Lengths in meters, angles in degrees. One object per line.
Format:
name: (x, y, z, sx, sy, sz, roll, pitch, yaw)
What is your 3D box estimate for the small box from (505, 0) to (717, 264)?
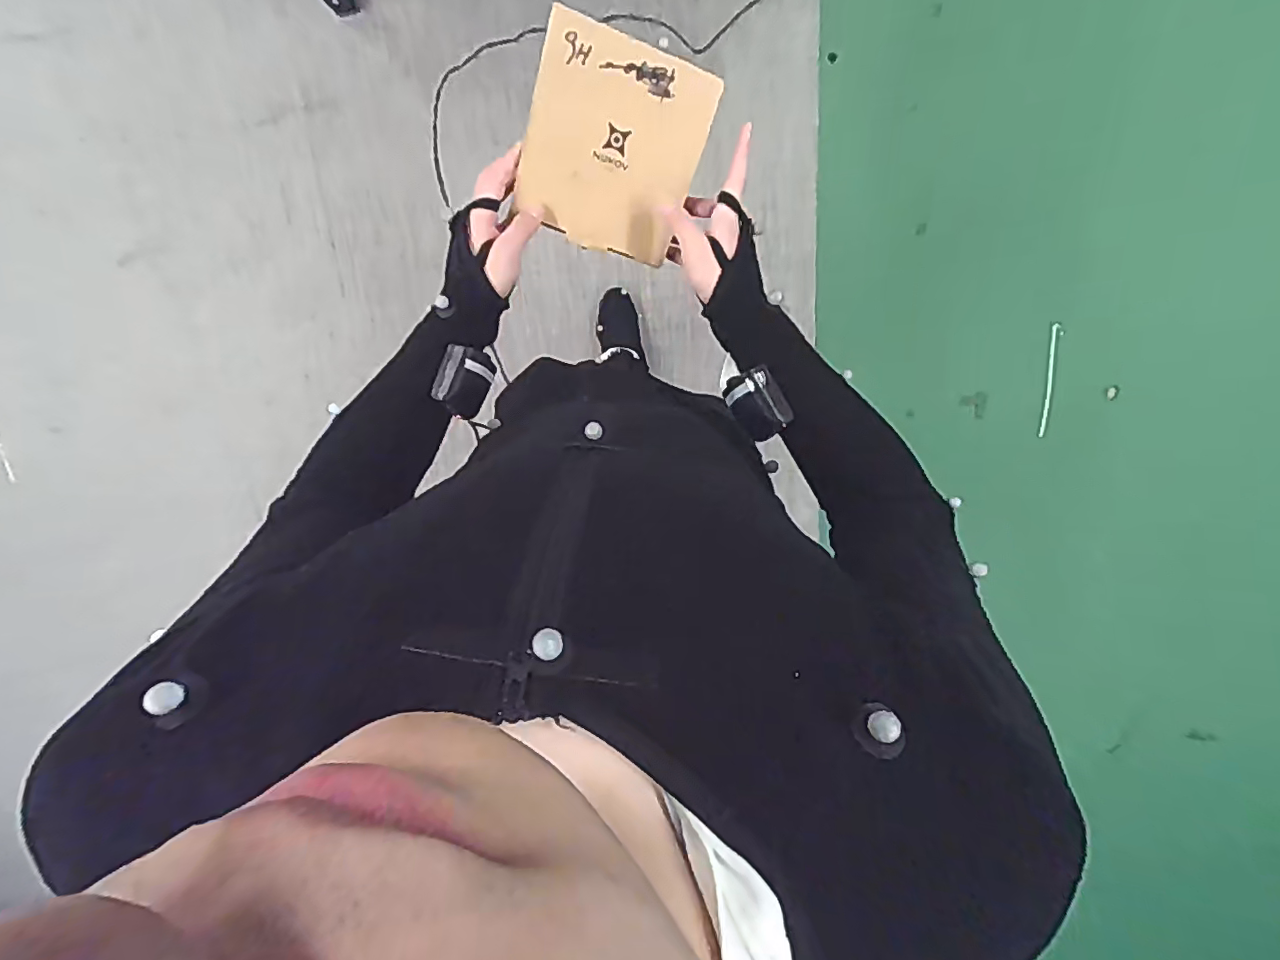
small box: (-0.034, -0.361, 0.585, 0.168, 0.176, 0.179, 15, 119, -12)
